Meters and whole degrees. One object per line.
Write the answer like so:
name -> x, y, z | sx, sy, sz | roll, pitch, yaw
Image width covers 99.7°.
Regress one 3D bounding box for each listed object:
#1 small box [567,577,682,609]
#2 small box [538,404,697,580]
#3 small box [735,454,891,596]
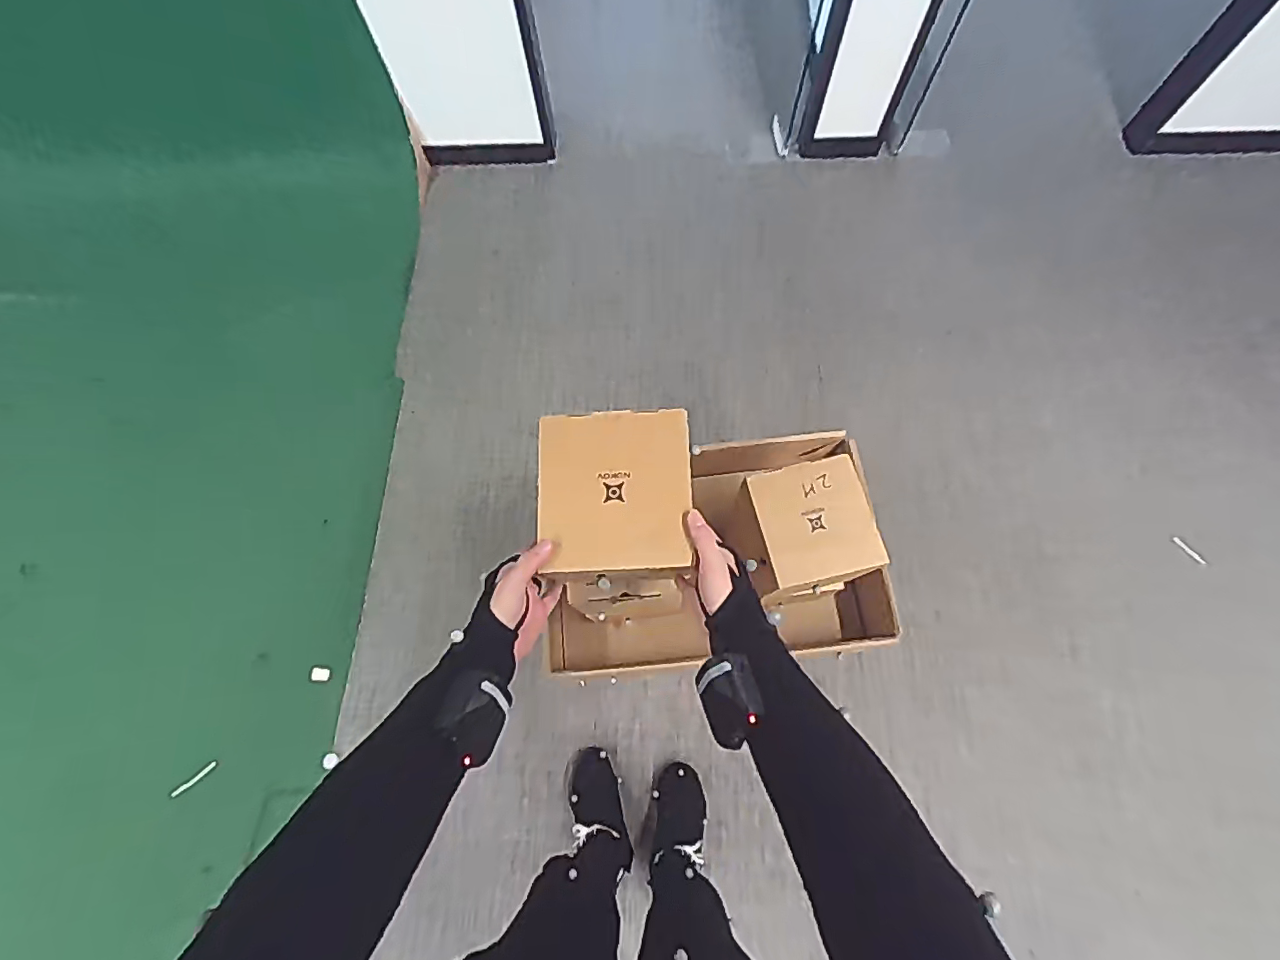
small box -> -0.021, 0.108, 0.854 | 0.168, 0.176, 0.179 | -4, 69, 1
small box -> -0.021, 0.026, 0.643 | 0.168, 0.176, 0.179 | -3, 74, 2
small box -> 0.259, 0.080, 0.854 | 0.168, 0.176, 0.179 | -12, 71, -3
